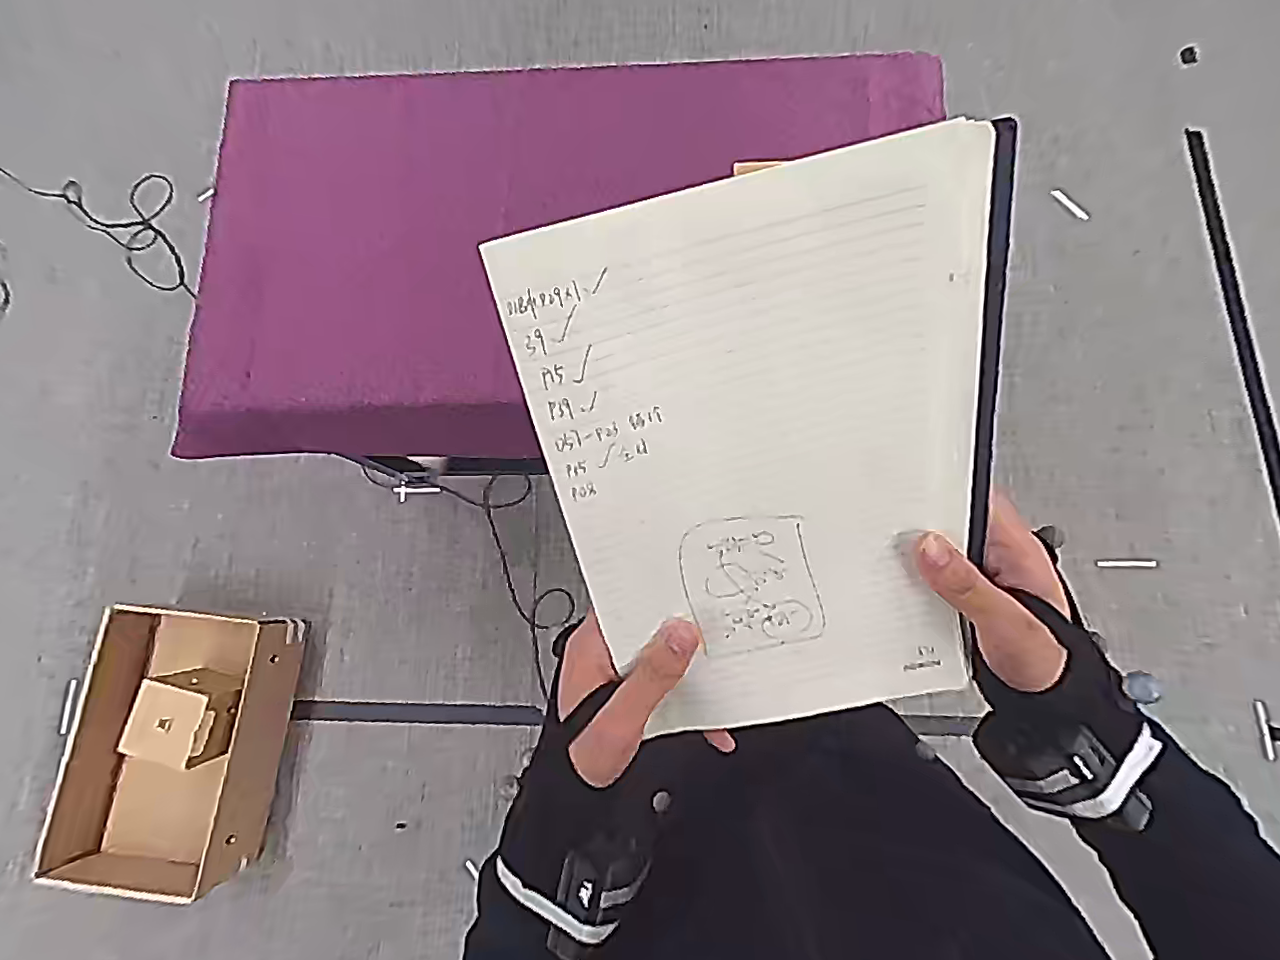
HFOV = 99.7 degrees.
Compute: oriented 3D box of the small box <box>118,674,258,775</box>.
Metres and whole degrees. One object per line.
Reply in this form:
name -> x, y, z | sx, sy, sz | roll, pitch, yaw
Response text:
small box -> -1.088, 0.585, 1.319 | 0.179, 0.176, 0.168 | 13, 80, 5
